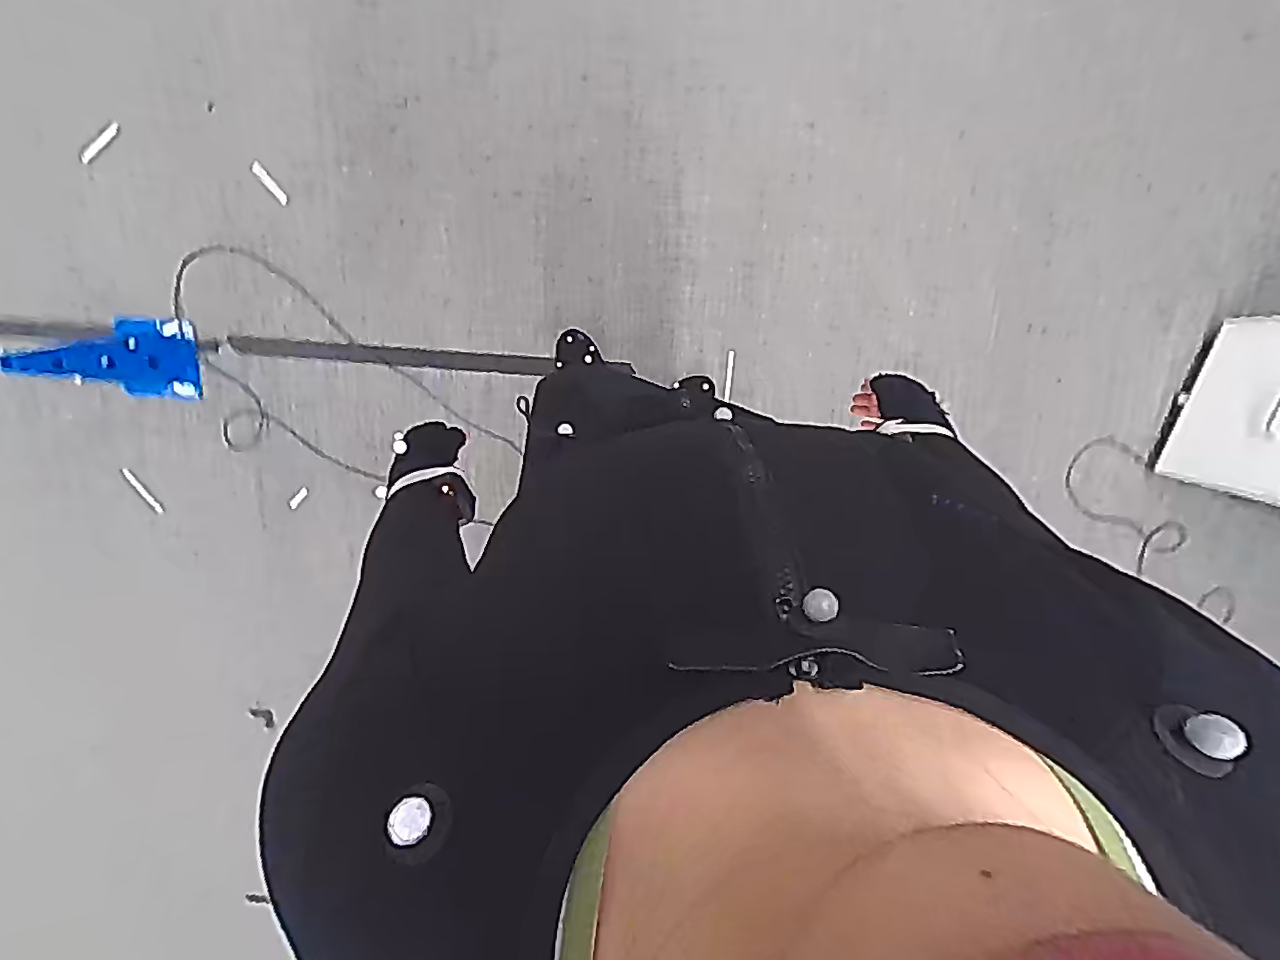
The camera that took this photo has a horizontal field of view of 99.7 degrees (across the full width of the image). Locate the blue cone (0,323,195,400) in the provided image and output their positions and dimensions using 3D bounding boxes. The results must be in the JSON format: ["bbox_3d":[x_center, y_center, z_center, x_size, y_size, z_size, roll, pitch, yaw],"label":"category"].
[{"bbox_3d":[-1.236,-0.258,1.219,0.192,0.380,0.193,2,105,-2],"label":"blue cone"}]
